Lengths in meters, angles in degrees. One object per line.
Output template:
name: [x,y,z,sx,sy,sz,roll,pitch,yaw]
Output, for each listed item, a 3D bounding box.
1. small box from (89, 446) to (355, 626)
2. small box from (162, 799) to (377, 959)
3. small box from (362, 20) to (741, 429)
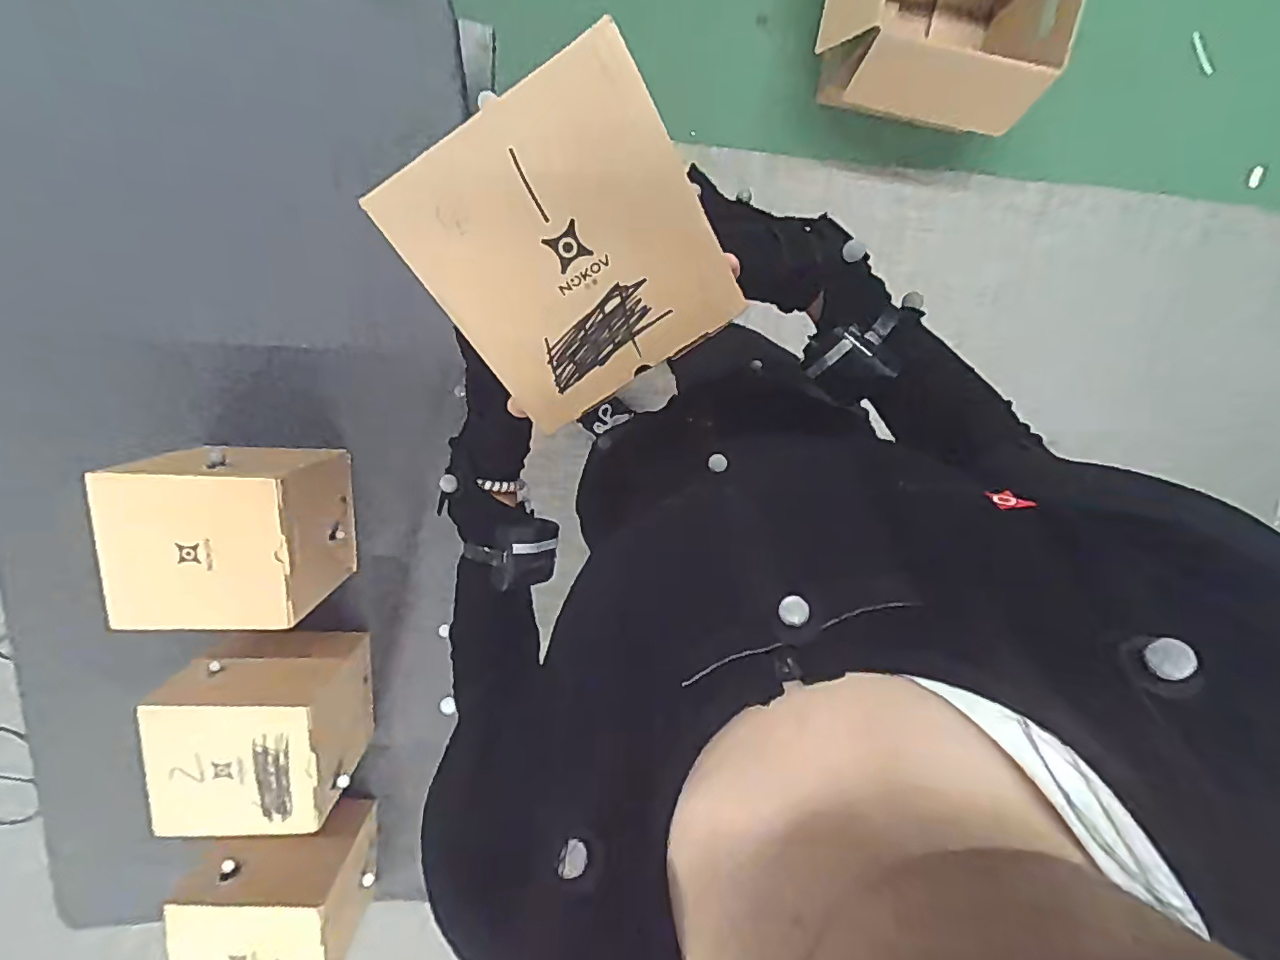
small box: [-0.454,0.055,0.619,0.179,0.176,0.168,1,101,-7]
small box: [-0.473,0.554,0.714,0.179,0.176,0.168,5,101,-6]
small box: [-0.055,-0.174,0.394,0.168,0.176,0.179,-31,120,6]
